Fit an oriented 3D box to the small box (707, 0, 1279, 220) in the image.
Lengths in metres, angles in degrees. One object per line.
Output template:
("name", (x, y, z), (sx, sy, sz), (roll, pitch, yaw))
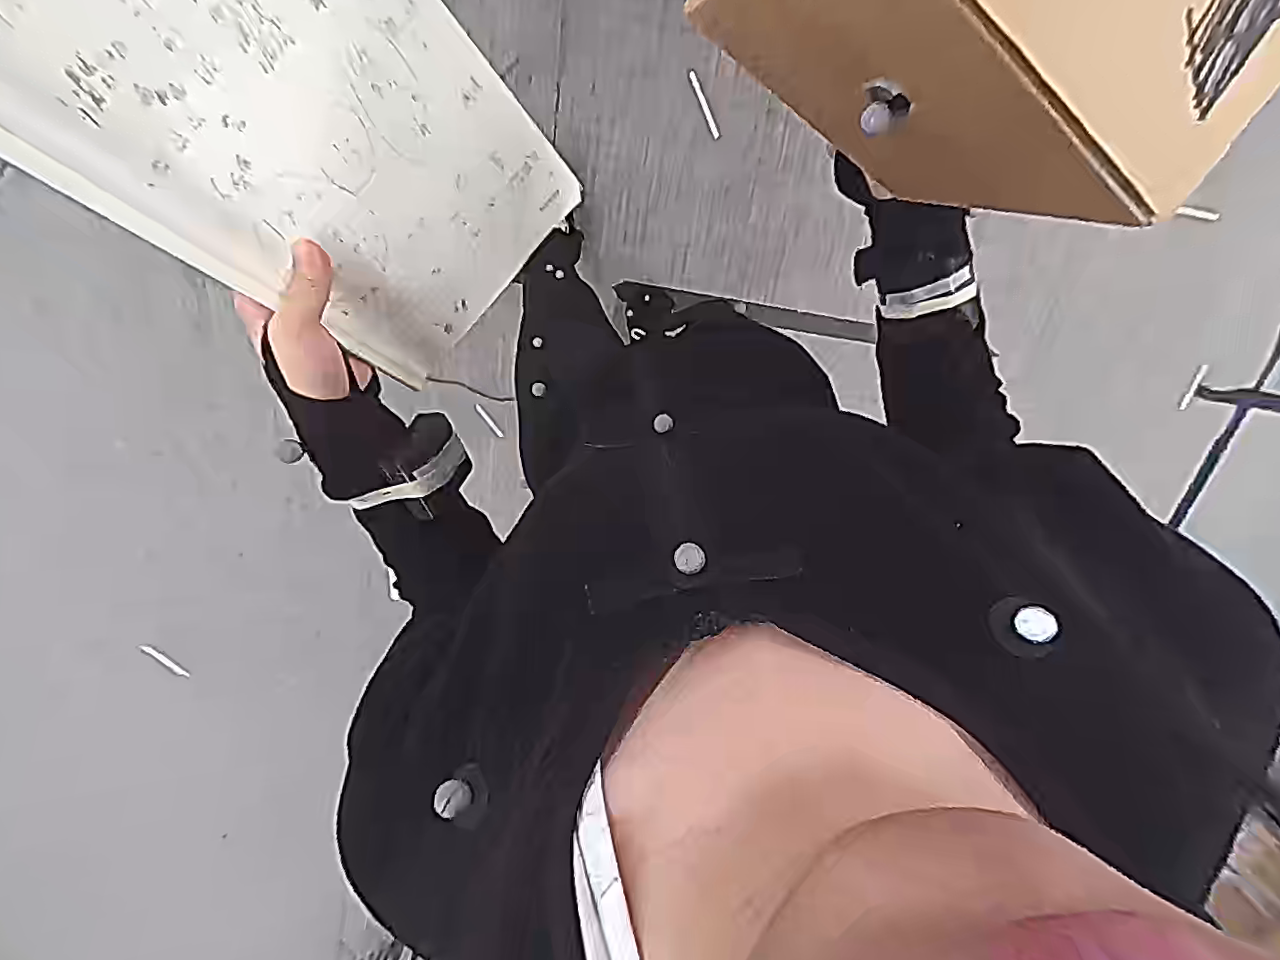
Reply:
("small box", (0.156, -0.234, 0.212), (0.179, 0.176, 0.168), (23, 112, -25))
